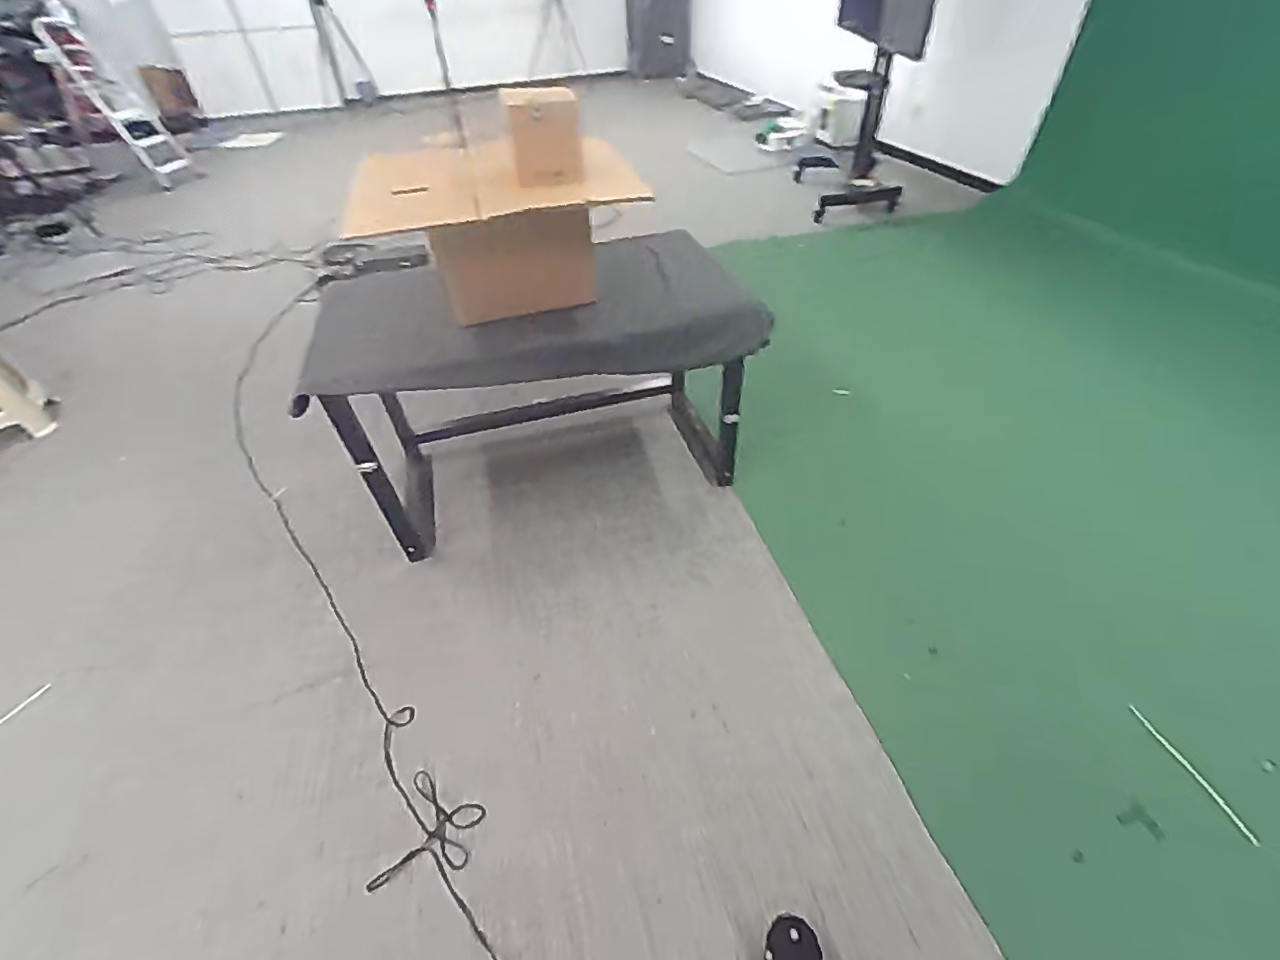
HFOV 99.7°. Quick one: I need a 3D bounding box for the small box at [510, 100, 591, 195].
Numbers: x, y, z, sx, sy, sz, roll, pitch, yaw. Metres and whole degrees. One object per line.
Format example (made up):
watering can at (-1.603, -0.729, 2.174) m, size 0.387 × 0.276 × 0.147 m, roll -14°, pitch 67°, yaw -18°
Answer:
small box at (-0.218, -0.813, 1.322) m, size 0.168 × 0.176 × 0.179 m, roll -11°, pitch 44°, yaw -9°
